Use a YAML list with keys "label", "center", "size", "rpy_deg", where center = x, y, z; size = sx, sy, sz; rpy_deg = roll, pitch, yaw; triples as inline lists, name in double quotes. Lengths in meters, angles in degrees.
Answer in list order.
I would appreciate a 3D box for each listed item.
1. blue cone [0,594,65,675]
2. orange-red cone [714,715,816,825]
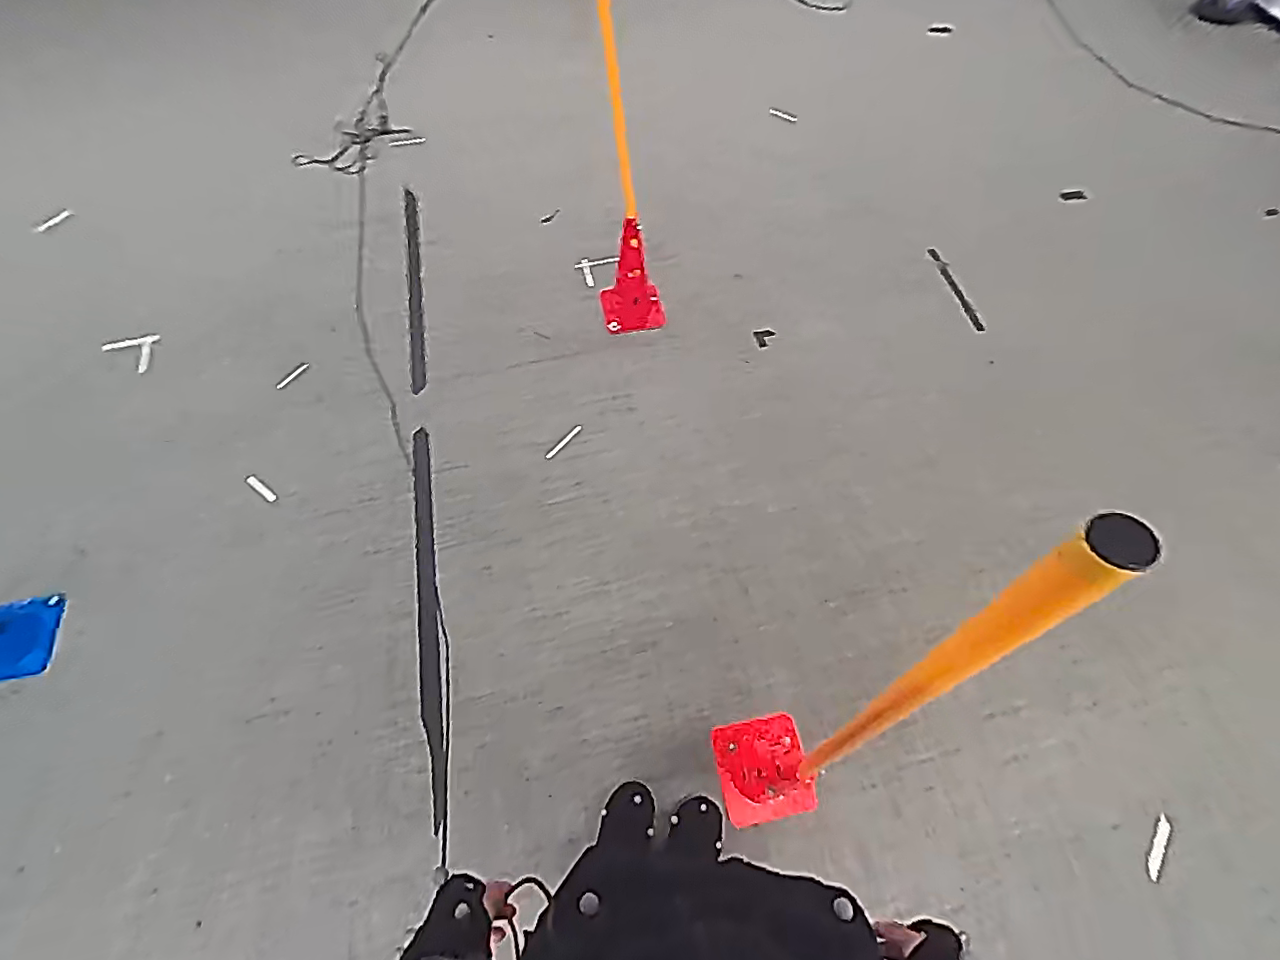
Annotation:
- label: "blue cone"
  center: [-1.549, 0.311, 1.196]
  size: [0.193, 0.380, 0.192]
  rpy_deg: [-8, 63, -4]
- label: "orange-red cone"
  center: [0.274, 0.561, 1.046]
  size: [0.198, 0.360, 0.199]
  rpy_deg: [-8, 64, -4]
